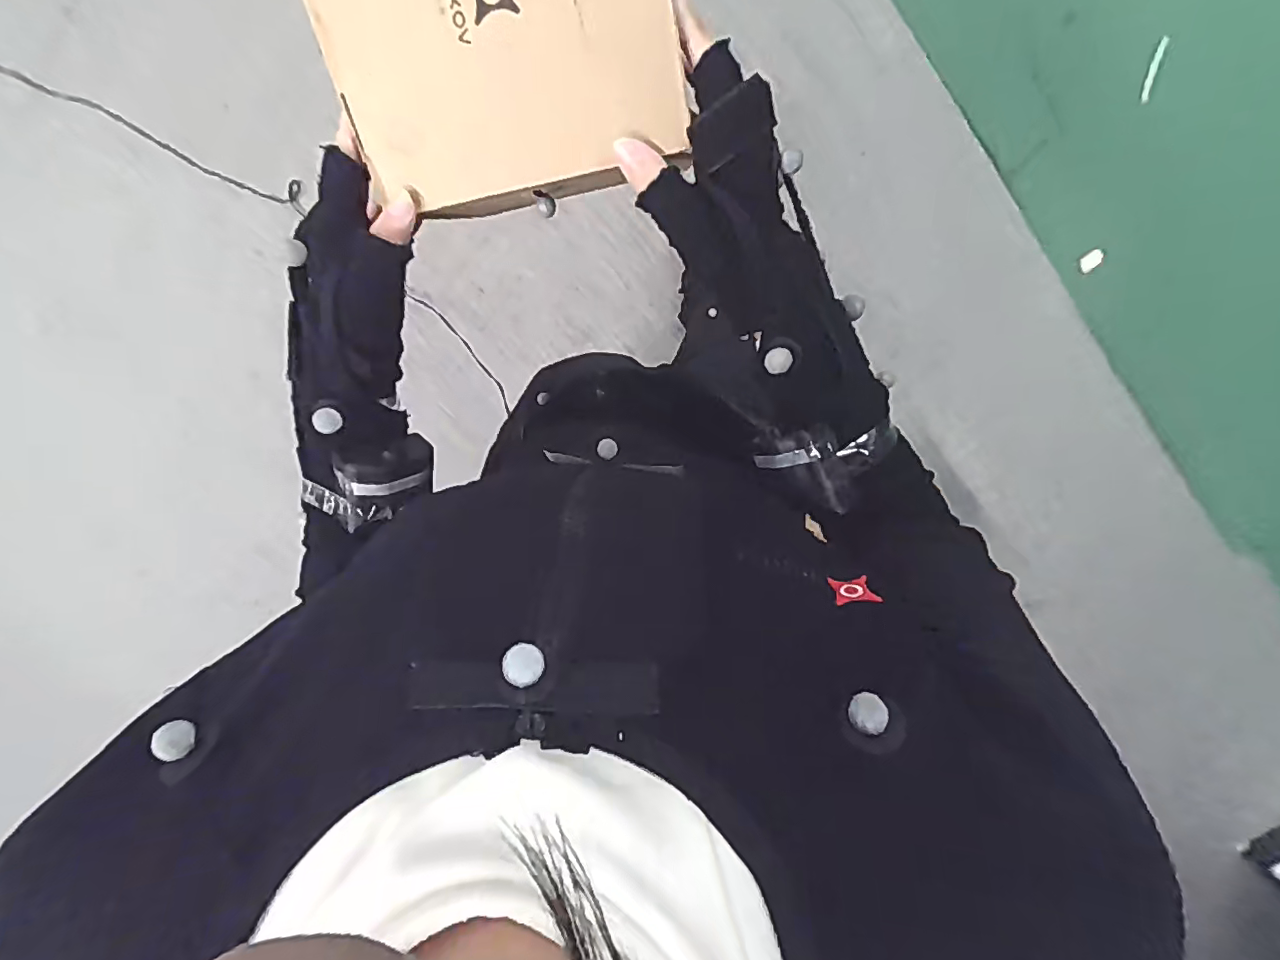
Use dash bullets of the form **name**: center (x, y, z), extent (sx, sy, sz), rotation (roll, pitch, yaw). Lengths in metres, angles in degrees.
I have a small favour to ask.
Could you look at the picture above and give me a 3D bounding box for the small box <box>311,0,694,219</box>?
- **small box**: center (-0.067, -0.267, 0.329), extent (0.179, 0.176, 0.168), rotation (-11, 117, 9)
